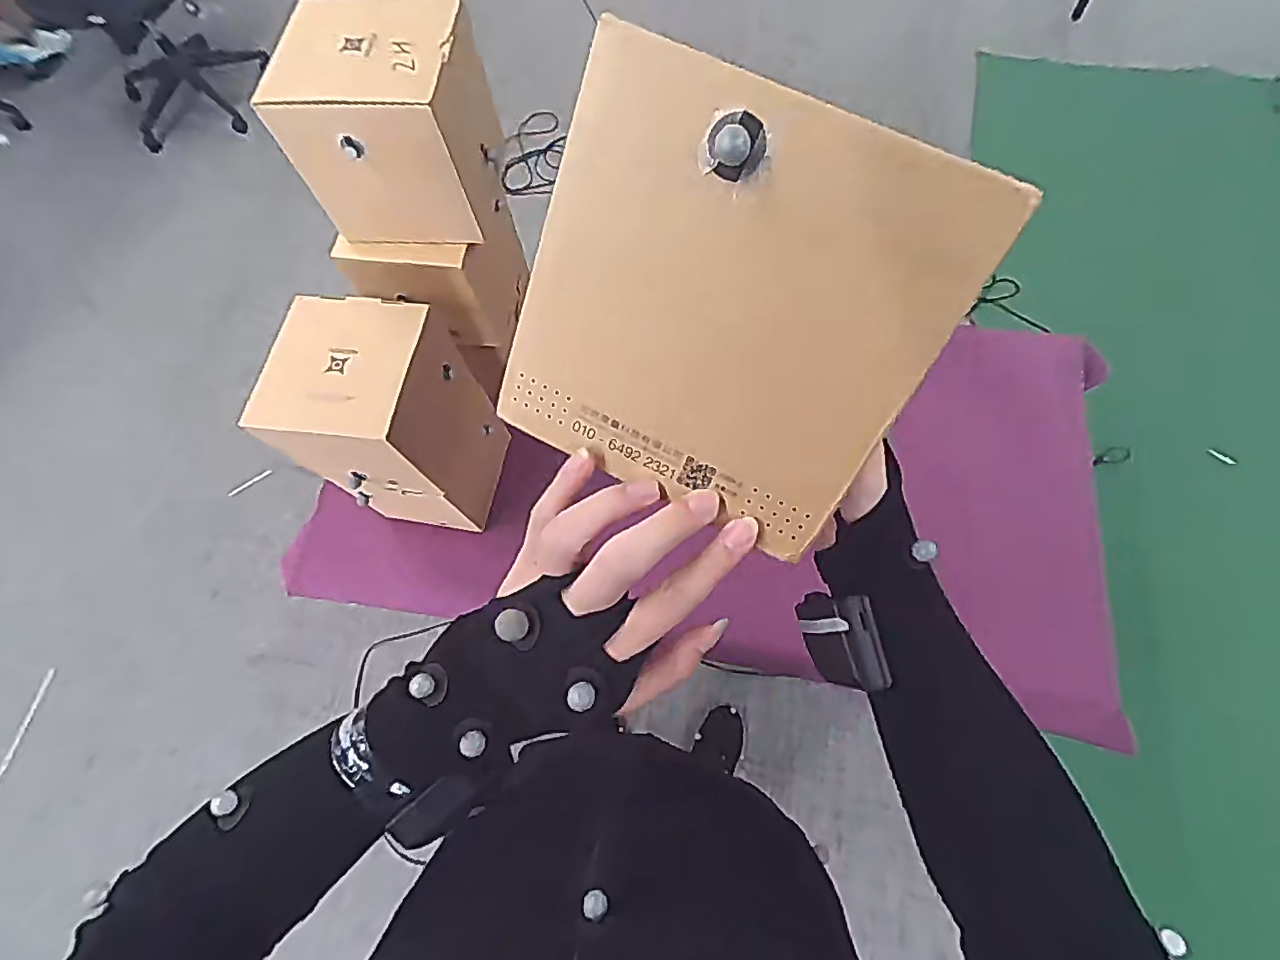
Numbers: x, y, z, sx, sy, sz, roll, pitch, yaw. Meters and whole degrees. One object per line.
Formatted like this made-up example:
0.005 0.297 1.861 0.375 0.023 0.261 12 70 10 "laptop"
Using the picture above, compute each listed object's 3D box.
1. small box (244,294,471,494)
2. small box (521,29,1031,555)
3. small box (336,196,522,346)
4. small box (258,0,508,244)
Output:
-0.325 -0.100 0.670 0.168 0.176 0.179 6 69 5 "small box"
0.055 -0.092 0.300 0.168 0.176 0.179 26 27 6 "small box"
-0.274 -0.307 0.749 0.168 0.176 0.179 6 69 4 "small box"
-0.264 -0.389 0.604 0.179 0.176 0.168 3 69 3 "small box"
